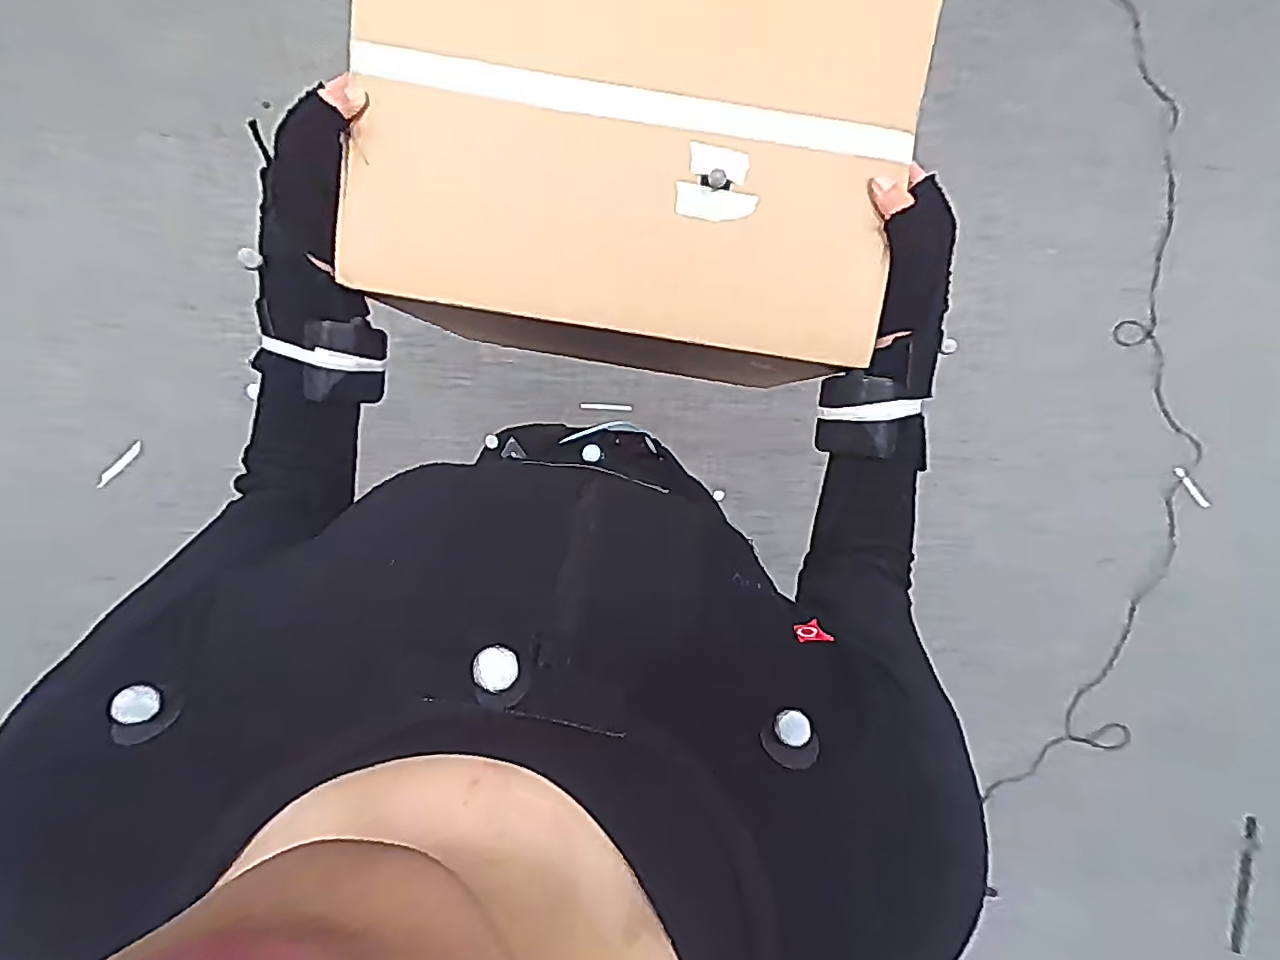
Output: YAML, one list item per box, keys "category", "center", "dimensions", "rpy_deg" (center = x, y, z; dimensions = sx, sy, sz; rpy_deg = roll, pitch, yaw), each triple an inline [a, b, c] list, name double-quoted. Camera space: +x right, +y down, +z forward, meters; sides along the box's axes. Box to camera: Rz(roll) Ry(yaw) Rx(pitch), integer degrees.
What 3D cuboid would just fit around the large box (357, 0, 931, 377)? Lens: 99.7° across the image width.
- category: "large box"
  center: [-0.003, -0.294, 0.546]
  dimensions: [0.408, 0.320, 0.320]
  rpy_deg: [9, 98, -2]
